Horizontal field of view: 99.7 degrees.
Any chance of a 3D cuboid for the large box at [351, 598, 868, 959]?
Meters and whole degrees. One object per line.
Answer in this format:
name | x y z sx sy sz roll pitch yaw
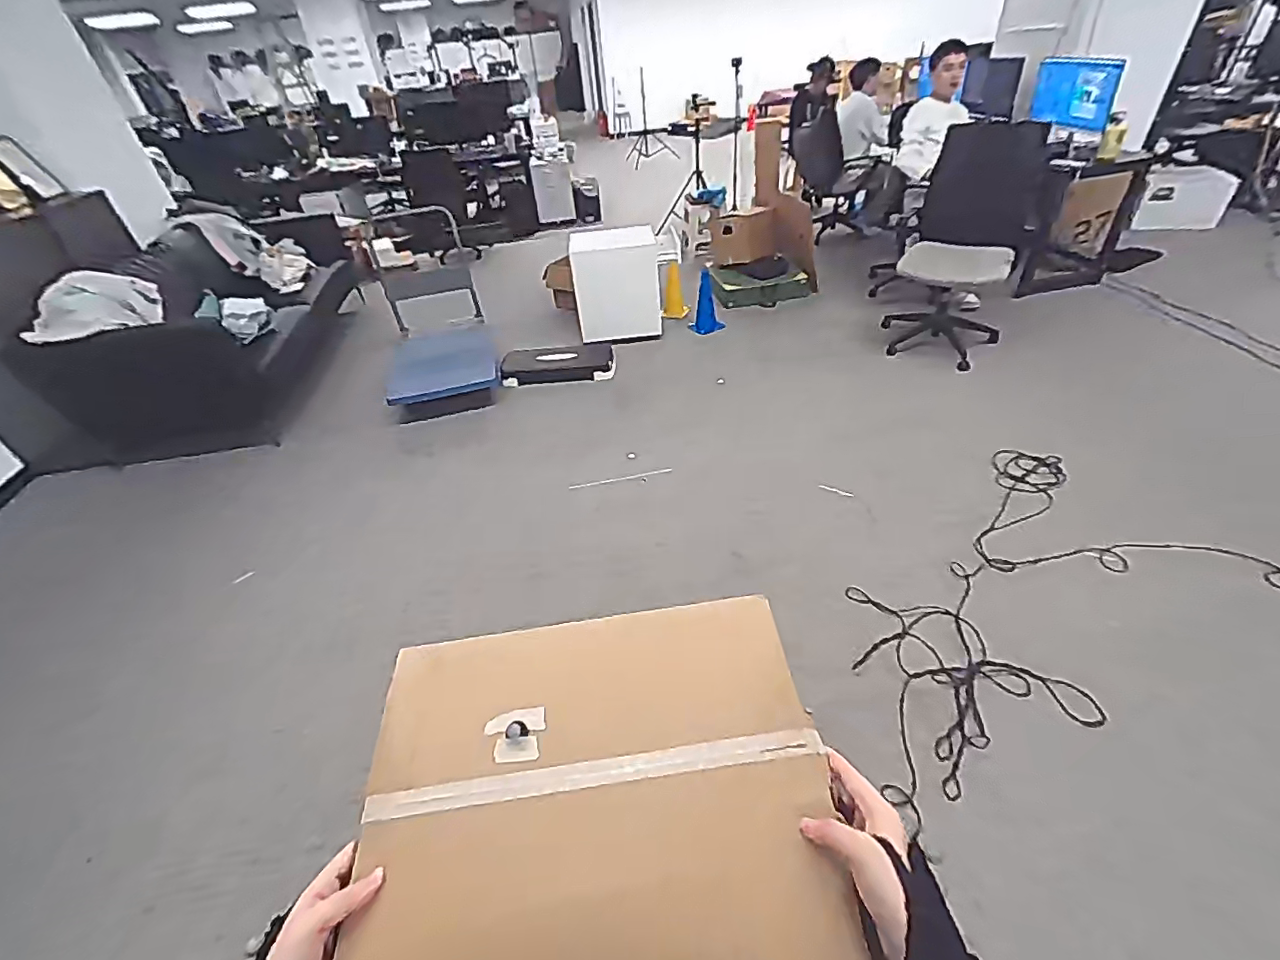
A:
large box | -0.024 0.373 0.601 0.408 0.320 0.320 -10 45 1
